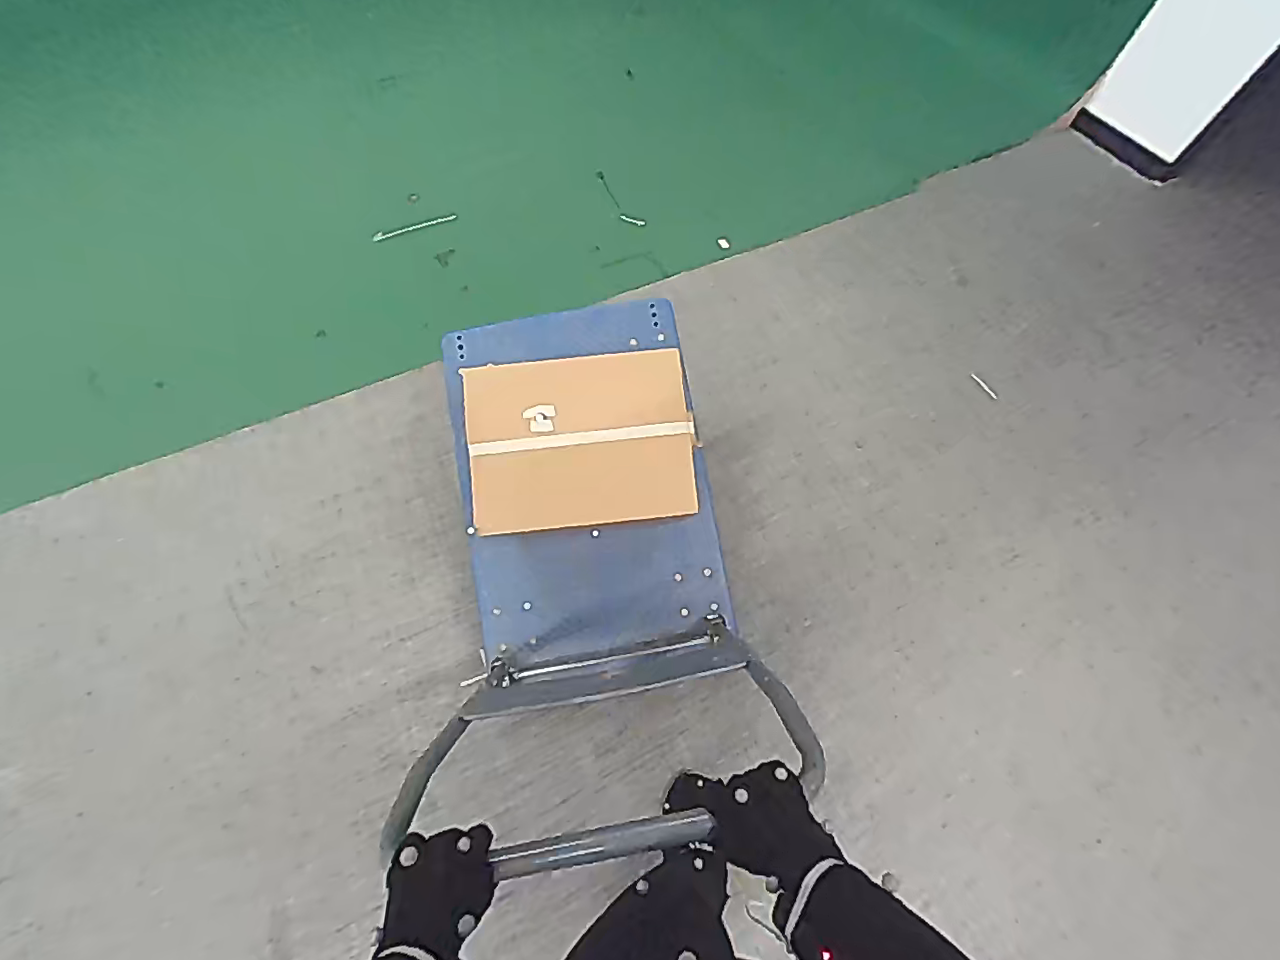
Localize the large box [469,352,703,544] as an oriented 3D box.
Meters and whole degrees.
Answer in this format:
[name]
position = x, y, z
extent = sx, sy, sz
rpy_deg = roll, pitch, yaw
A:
[large box]
position = -0.099, -0.046, 1.134
extent = 0.408, 0.320, 0.320
rpy_deg = -7, 83, 0
